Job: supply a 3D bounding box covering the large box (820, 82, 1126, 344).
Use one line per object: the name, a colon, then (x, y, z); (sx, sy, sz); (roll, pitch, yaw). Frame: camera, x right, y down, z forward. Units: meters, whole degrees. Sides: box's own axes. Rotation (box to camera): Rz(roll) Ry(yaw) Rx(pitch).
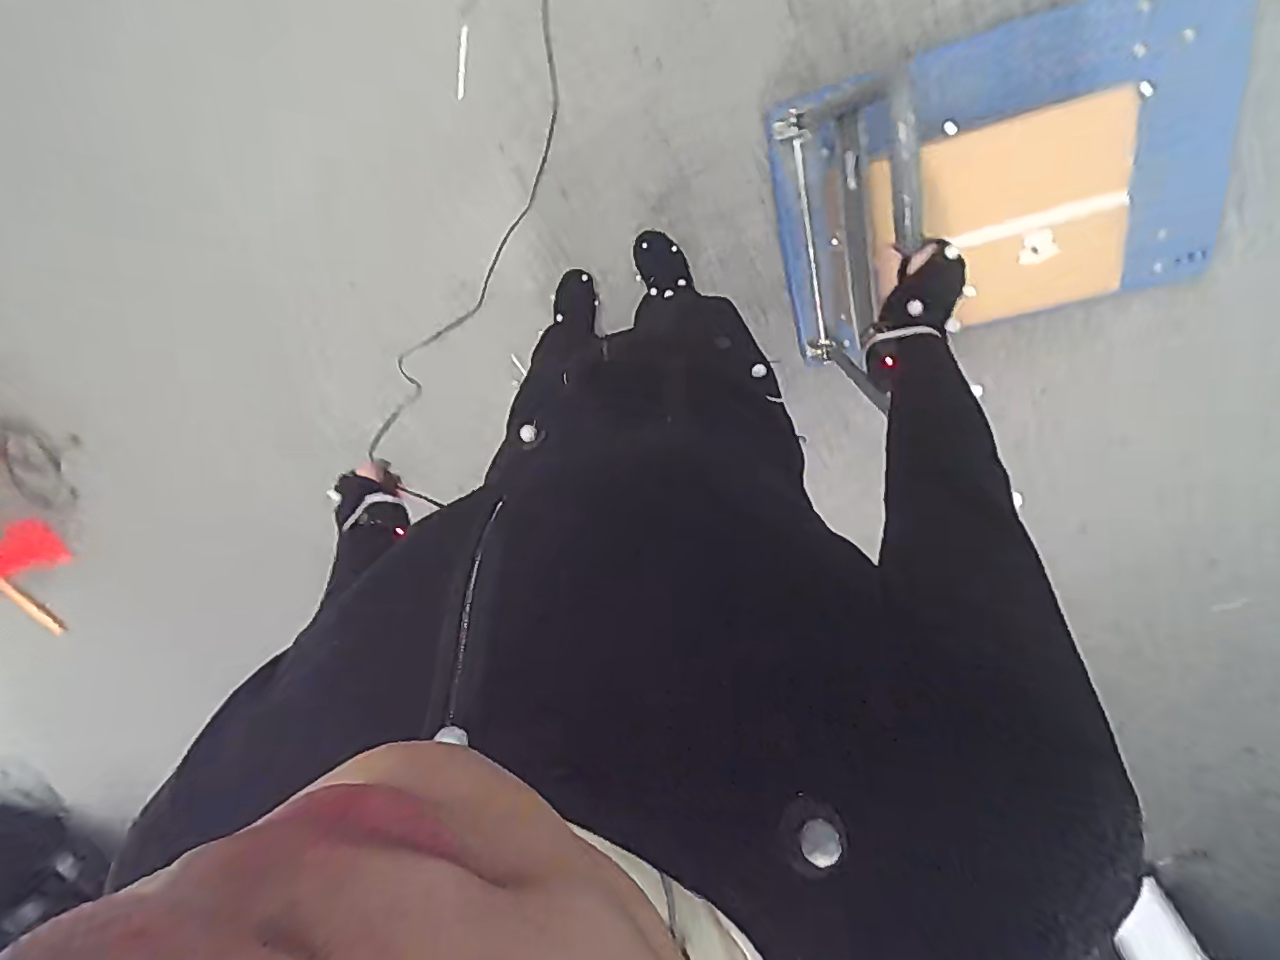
large box: (0.605, -0.500, 1.057); (0.408, 0.320, 0.320); (-12, 117, 11)
